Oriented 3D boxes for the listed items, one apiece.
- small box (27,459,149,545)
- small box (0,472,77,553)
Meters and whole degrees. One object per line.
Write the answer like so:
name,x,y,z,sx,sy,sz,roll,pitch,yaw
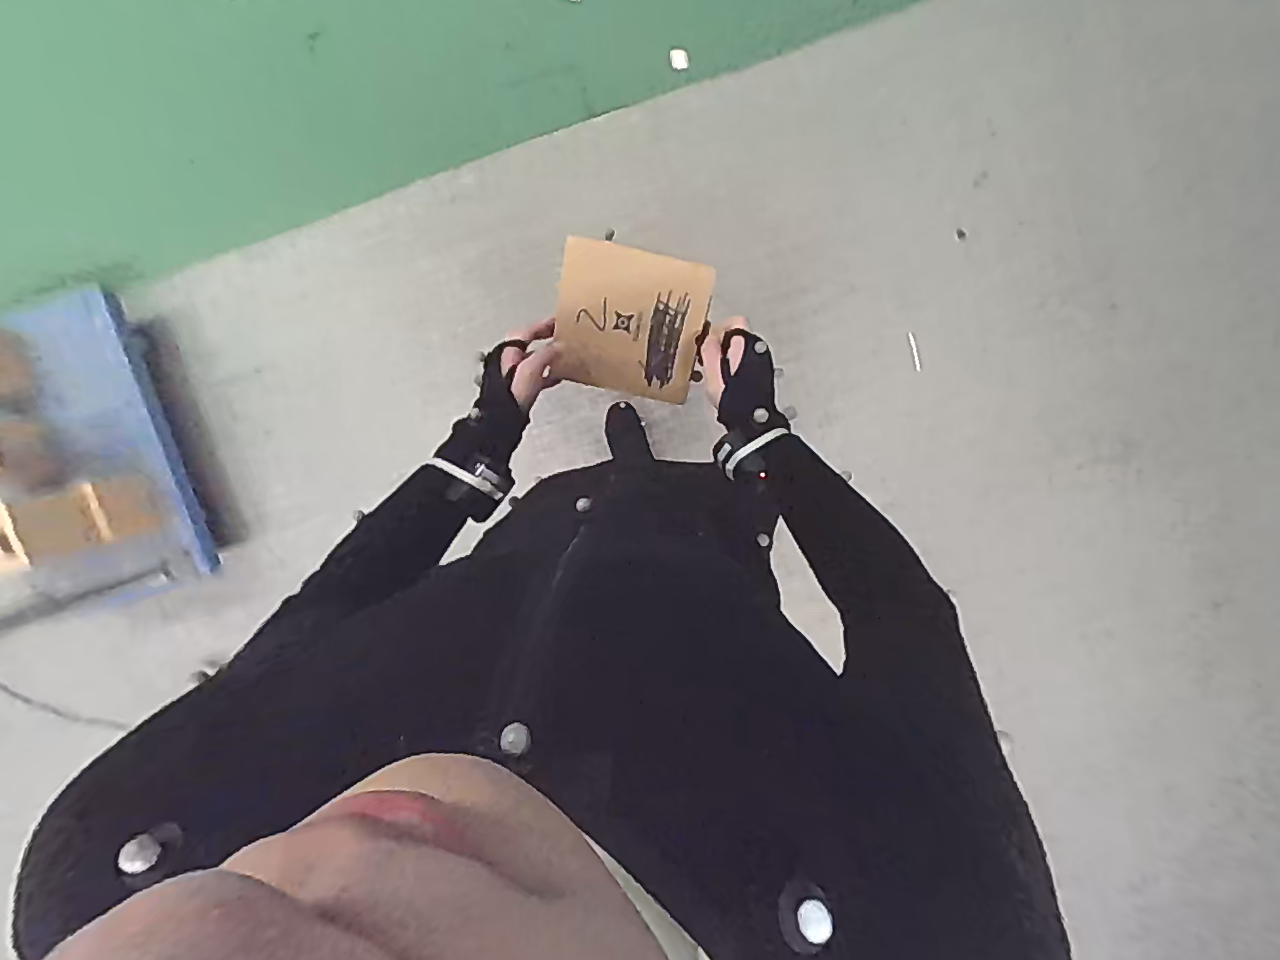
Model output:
small box,-1.478,0.053,1.453,0.168,0.176,0.179,15,99,-1
small box,-1.508,0.083,1.284,0.179,0.176,0.168,-15,96,5
